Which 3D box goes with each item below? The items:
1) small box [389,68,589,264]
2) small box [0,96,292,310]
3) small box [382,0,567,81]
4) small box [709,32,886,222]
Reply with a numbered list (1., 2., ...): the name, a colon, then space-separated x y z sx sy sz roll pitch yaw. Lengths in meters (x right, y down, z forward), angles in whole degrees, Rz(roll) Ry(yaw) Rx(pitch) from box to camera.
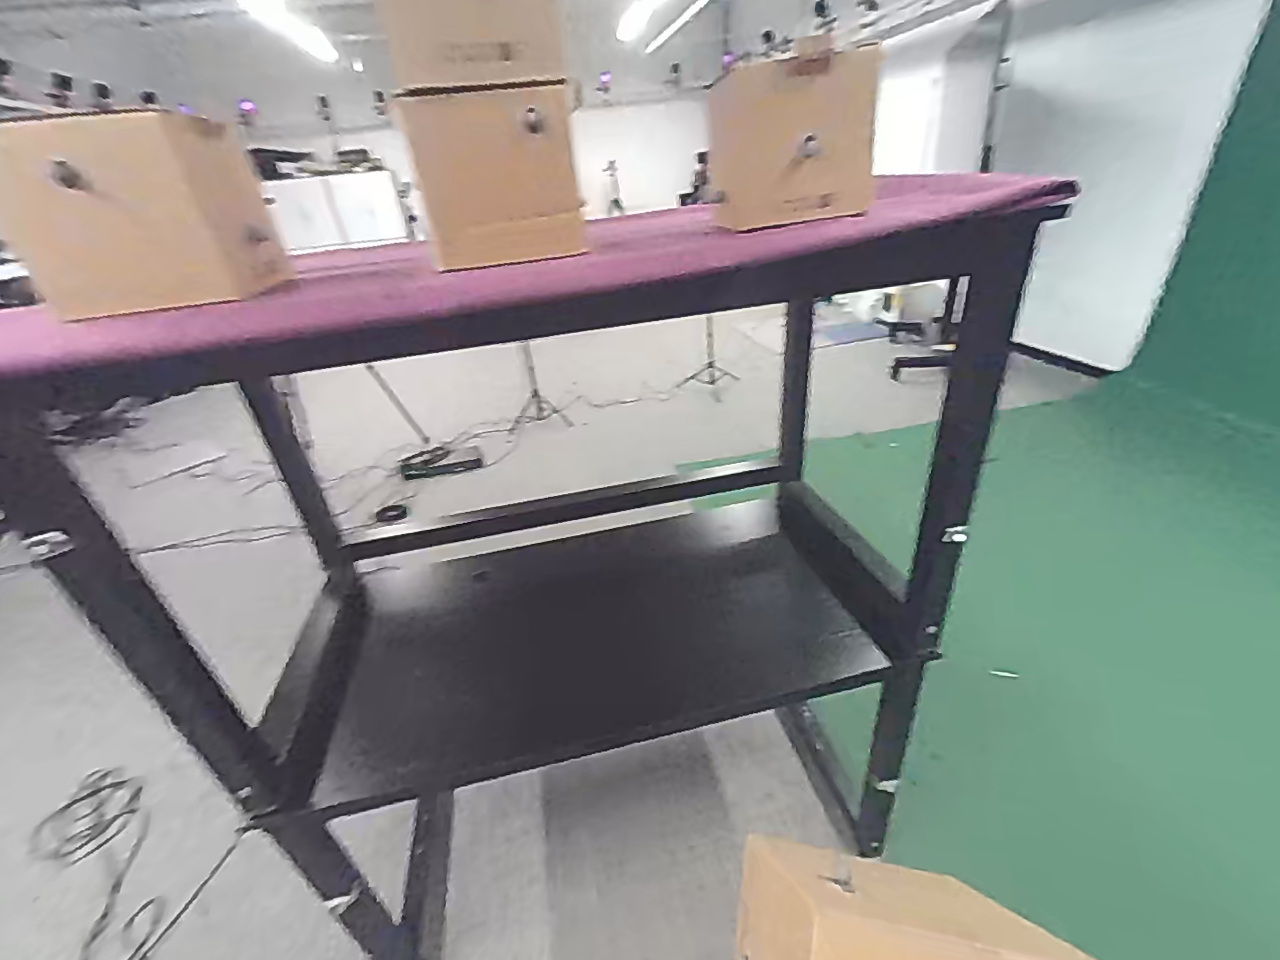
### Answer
1. small box: -0.164 -0.357 0.635 0.179 0.176 0.168 -10 29 -8
2. small box: -0.514 -0.285 0.569 0.179 0.176 0.168 -10 31 -8
3. small box: -0.173 -0.499 0.558 0.168 0.176 0.179 -10 28 -10
4. small box: 0.187 -0.428 0.682 0.168 0.176 0.179 -8 28 -1
